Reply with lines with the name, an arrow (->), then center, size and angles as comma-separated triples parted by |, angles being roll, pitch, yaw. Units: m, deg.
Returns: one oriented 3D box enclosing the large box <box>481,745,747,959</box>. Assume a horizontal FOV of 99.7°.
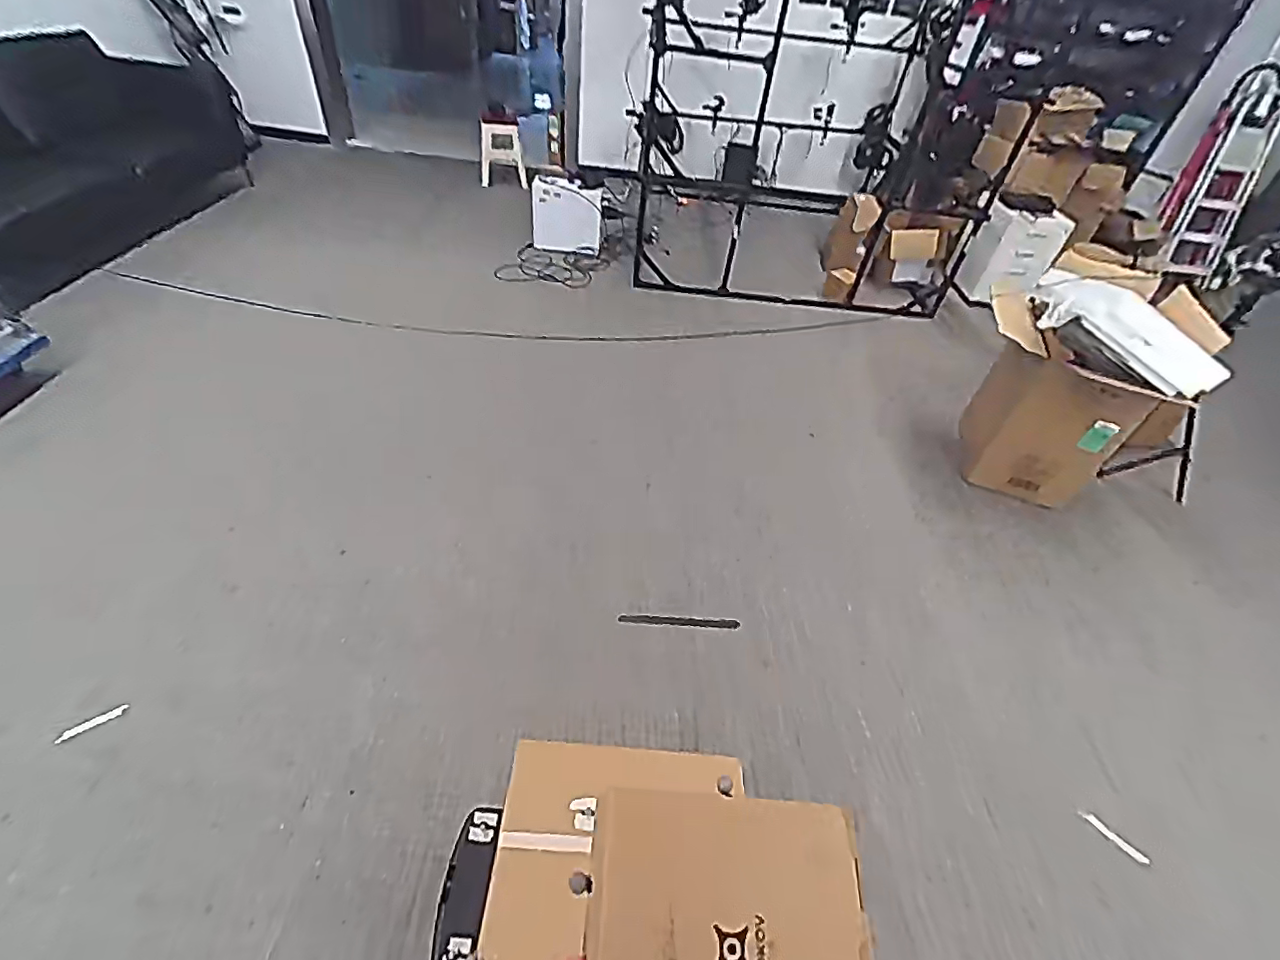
large box -> -0.027, 0.692, 0.948 | 0.408, 0.320, 0.320 | 5, 43, -1
